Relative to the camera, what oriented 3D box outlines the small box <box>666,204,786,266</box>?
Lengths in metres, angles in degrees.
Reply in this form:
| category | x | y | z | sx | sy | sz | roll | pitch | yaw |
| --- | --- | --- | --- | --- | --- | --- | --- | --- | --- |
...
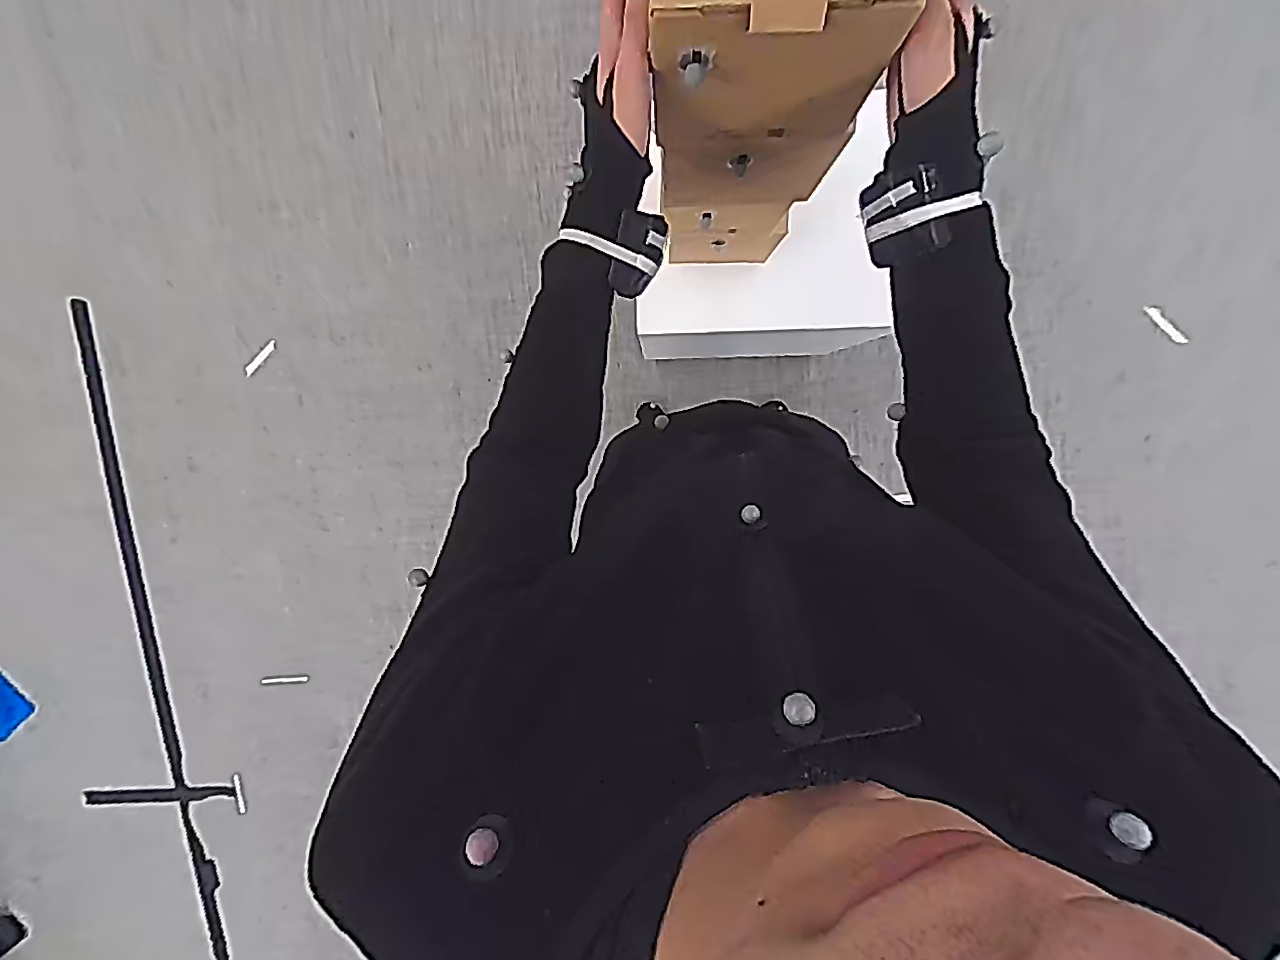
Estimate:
| category | x | y | z | sx | sy | sz | roll | pitch | yaw |
| --- | --- | --- | --- | --- | --- | --- | --- | --- | --- |
| small box | 0.131 | -0.453 | 0.879 | 0.179 | 0.176 | 0.168 | 0 | 98 | 1 |

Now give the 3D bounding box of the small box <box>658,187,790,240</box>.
| category | x | y | z | sx | sy | sz | roll | pitch | yaw |
| --- | --- | --- | --- | --- | --- | --- | --- | --- | --- |
| small box | 0.109 | -0.432 | 0.718 | 0.168 | 0.176 | 0.179 | 1 | 97 | 2 |

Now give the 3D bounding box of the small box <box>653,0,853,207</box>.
| category | x | y | z | sx | sy | sz | roll | pitch | yaw |
| --- | --- | --- | --- | --- | --- | --- | --- | --- | --- |
| small box | 0.104 | -0.396 | 0.557 | 0.179 | 0.176 | 0.168 | -2 | 98 | 2 |
